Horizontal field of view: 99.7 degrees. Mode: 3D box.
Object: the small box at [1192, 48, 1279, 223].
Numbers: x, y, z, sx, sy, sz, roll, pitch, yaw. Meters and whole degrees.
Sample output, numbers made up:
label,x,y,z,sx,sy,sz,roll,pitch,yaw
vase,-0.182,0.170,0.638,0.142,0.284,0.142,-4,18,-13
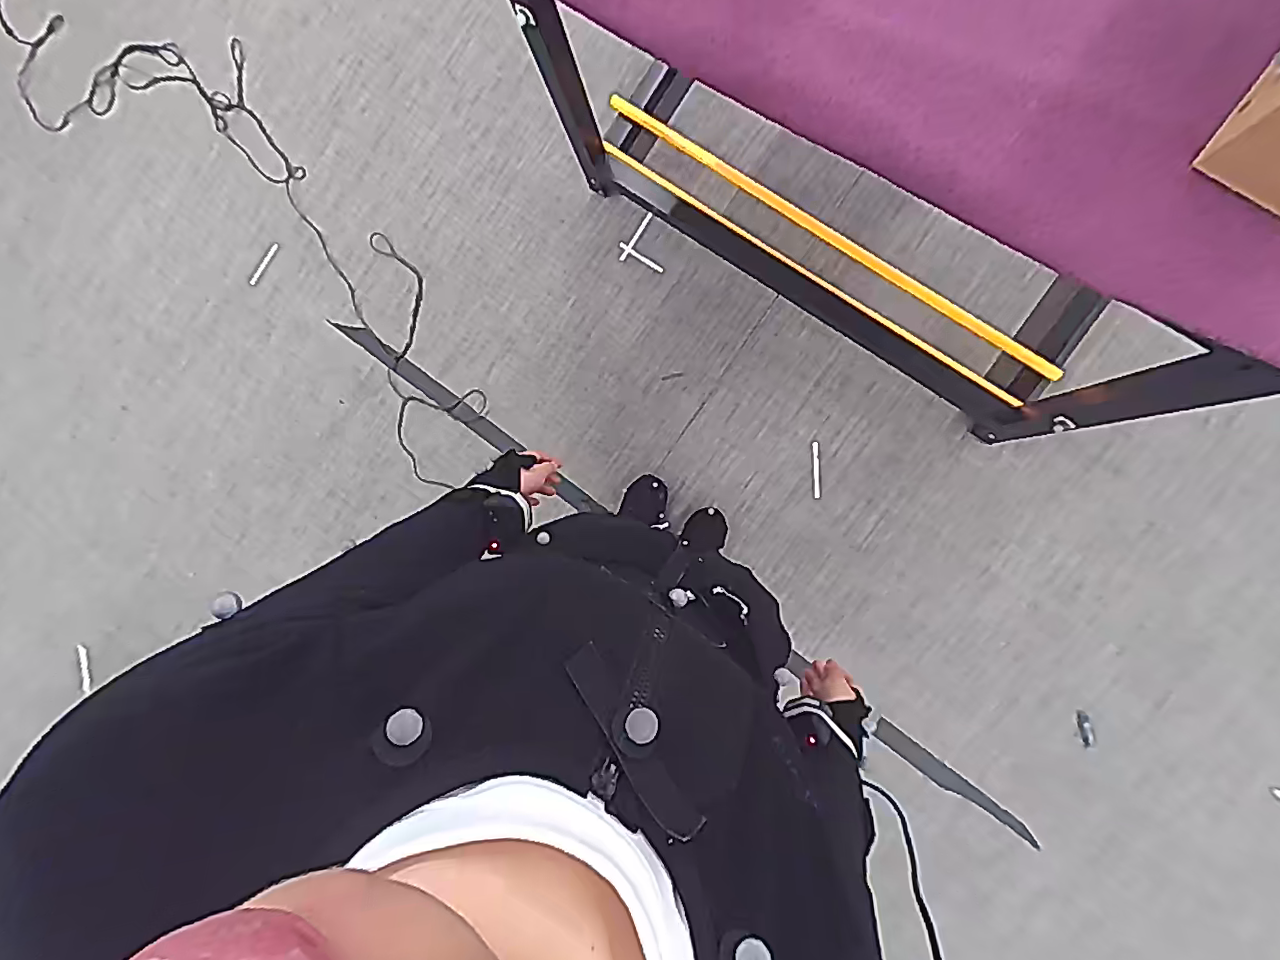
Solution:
label,x,y,z,sx,sy,sz,roll,pitch,yaw
small box,0.684,-0.346,0.480,0.179,0.176,0.168,37,92,7
